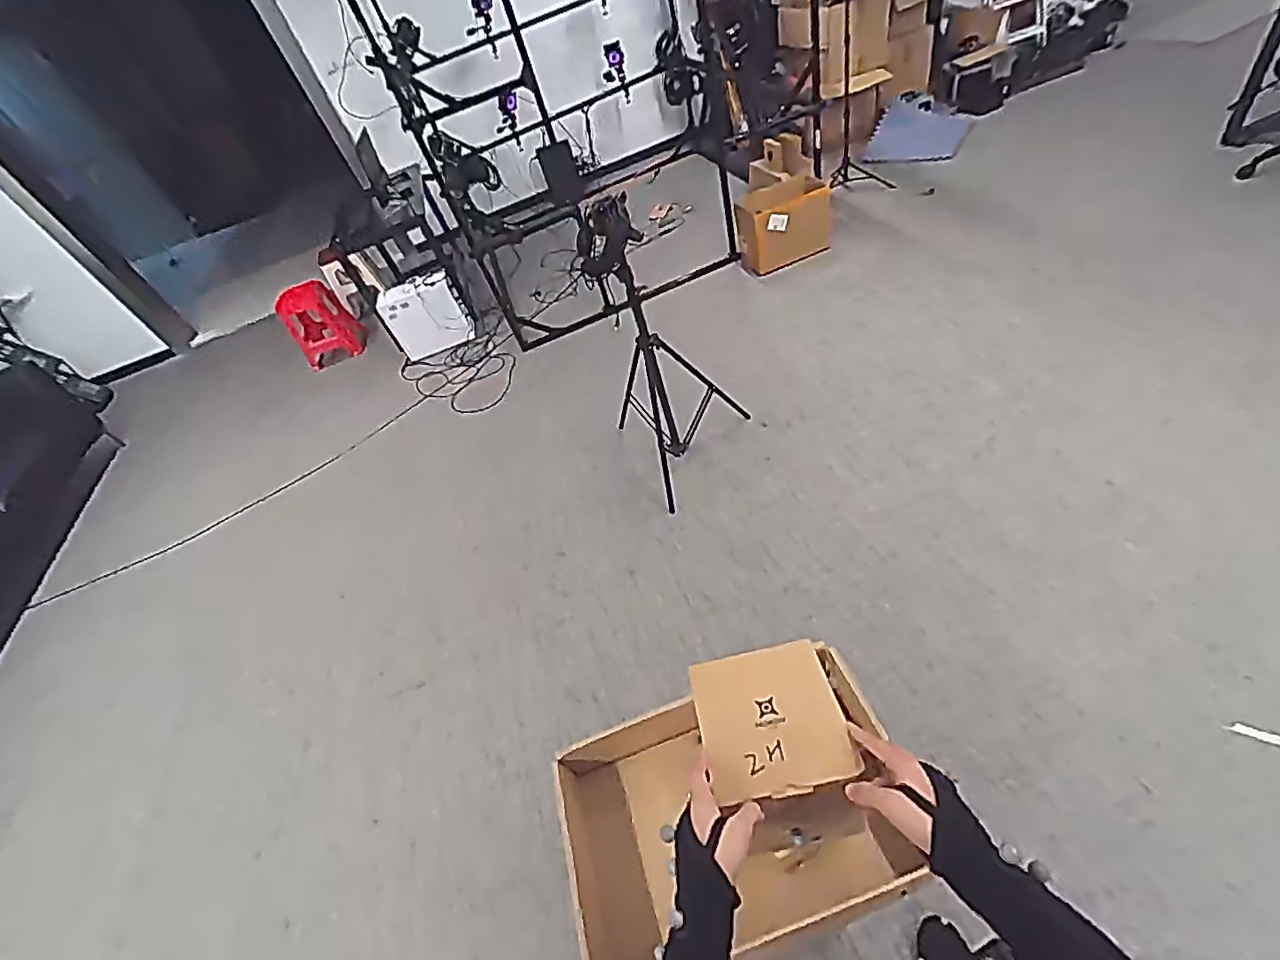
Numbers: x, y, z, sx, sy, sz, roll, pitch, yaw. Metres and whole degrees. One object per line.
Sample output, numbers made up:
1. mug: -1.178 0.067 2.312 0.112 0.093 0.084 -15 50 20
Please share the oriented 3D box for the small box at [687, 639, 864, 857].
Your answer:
1. small box: 0.165 0.338 0.685 0.168 0.176 0.179 -15 38 3
